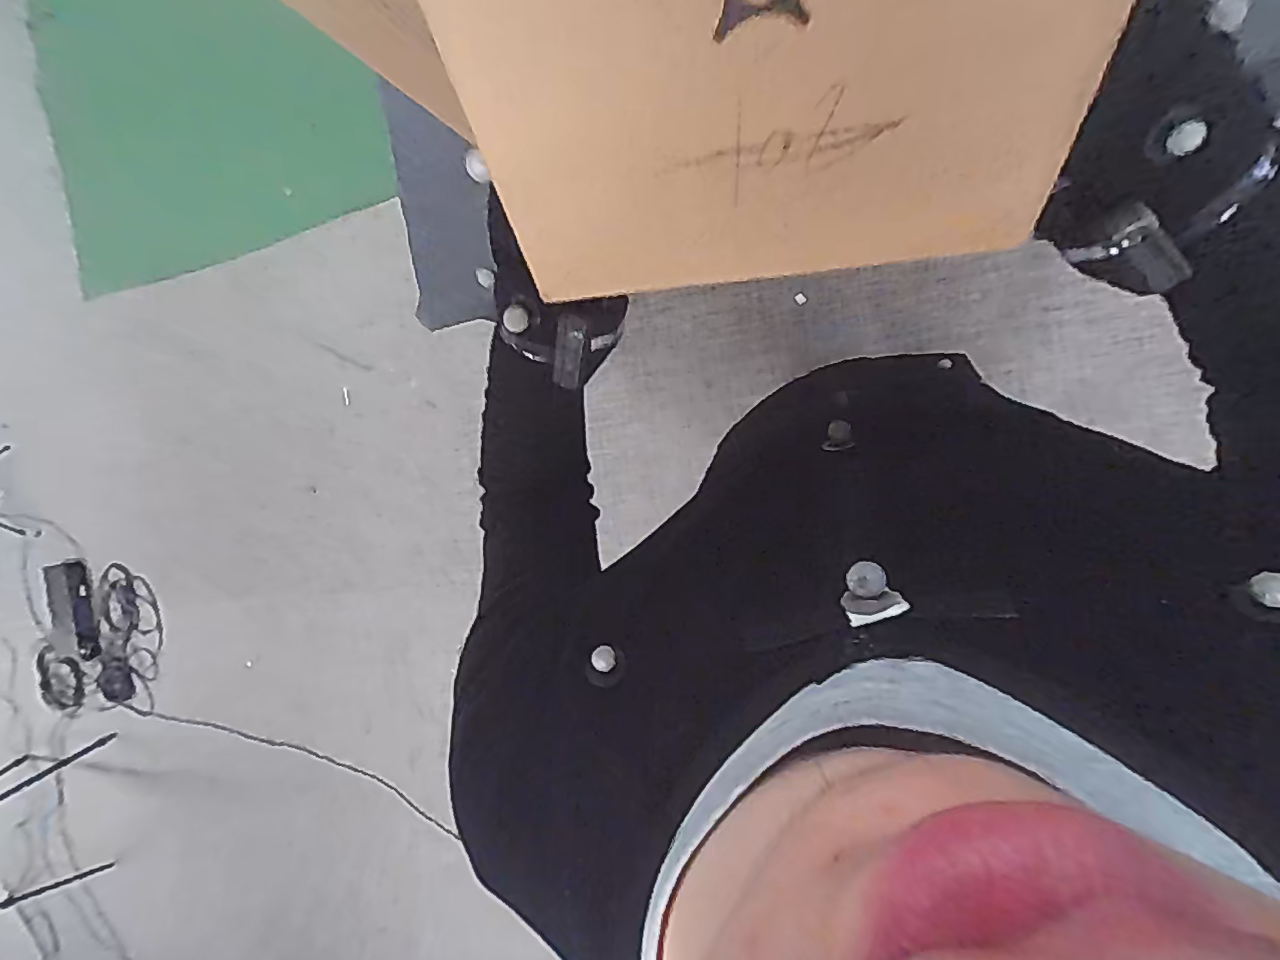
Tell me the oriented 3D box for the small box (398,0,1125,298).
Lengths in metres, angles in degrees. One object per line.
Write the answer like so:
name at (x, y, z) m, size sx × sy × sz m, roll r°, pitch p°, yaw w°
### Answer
small box at (0.029, -0.185, 0.158) m, size 0.168 × 0.179 × 0.176 m, roll -2°, pitch 59°, yaw 13°
